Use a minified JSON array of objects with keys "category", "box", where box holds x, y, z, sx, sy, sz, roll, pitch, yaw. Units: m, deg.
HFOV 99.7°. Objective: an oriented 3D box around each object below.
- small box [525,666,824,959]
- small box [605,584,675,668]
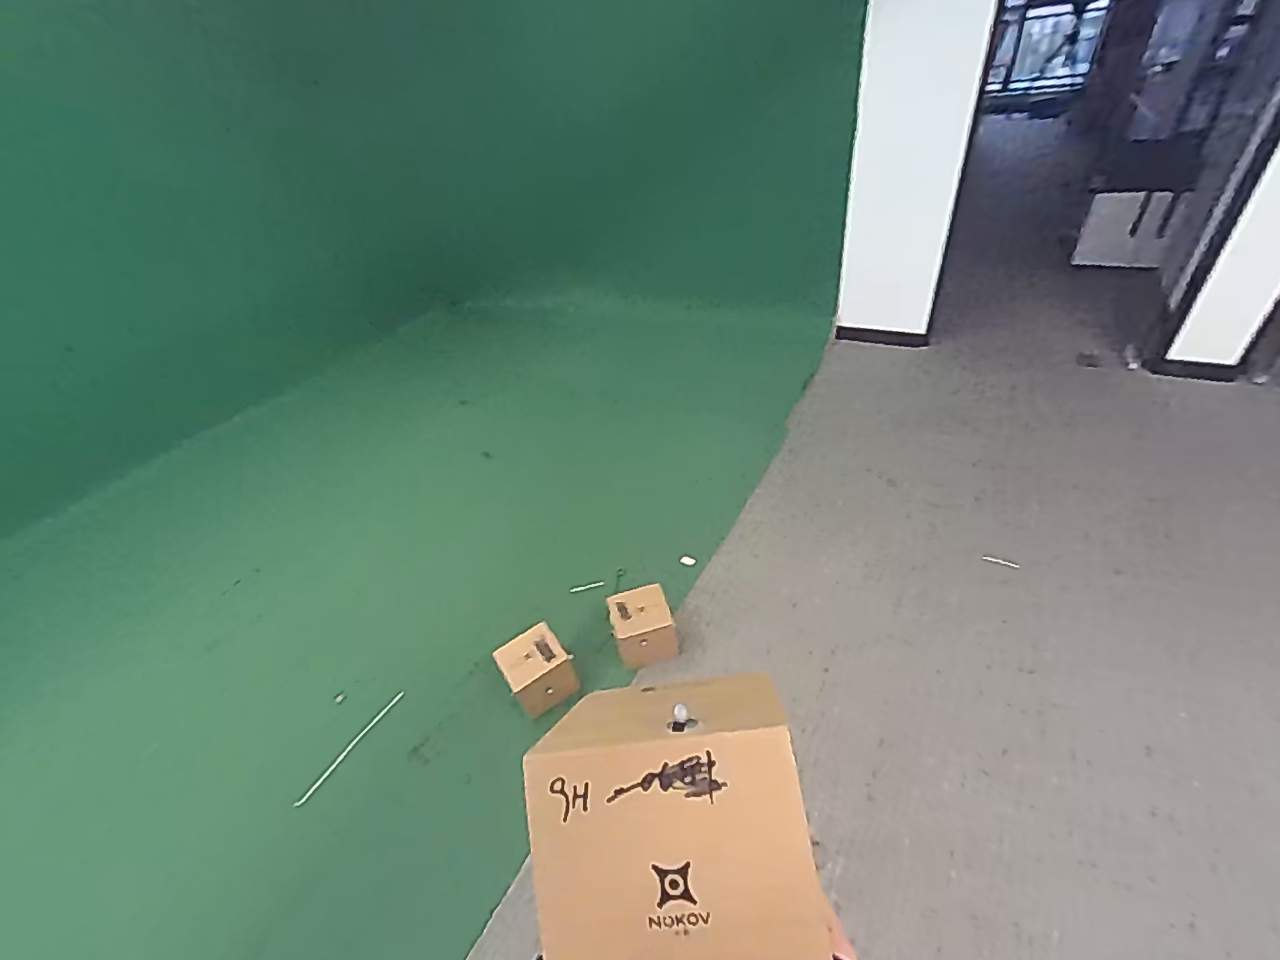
[{"category":"small box","box":[0.031,0.250,0.394,0.168,0.176,0.179,-10,81,7]},{"category":"small box","box":[0.000,0.460,1.690,0.179,0.176,0.168,-14,39,-7]}]
